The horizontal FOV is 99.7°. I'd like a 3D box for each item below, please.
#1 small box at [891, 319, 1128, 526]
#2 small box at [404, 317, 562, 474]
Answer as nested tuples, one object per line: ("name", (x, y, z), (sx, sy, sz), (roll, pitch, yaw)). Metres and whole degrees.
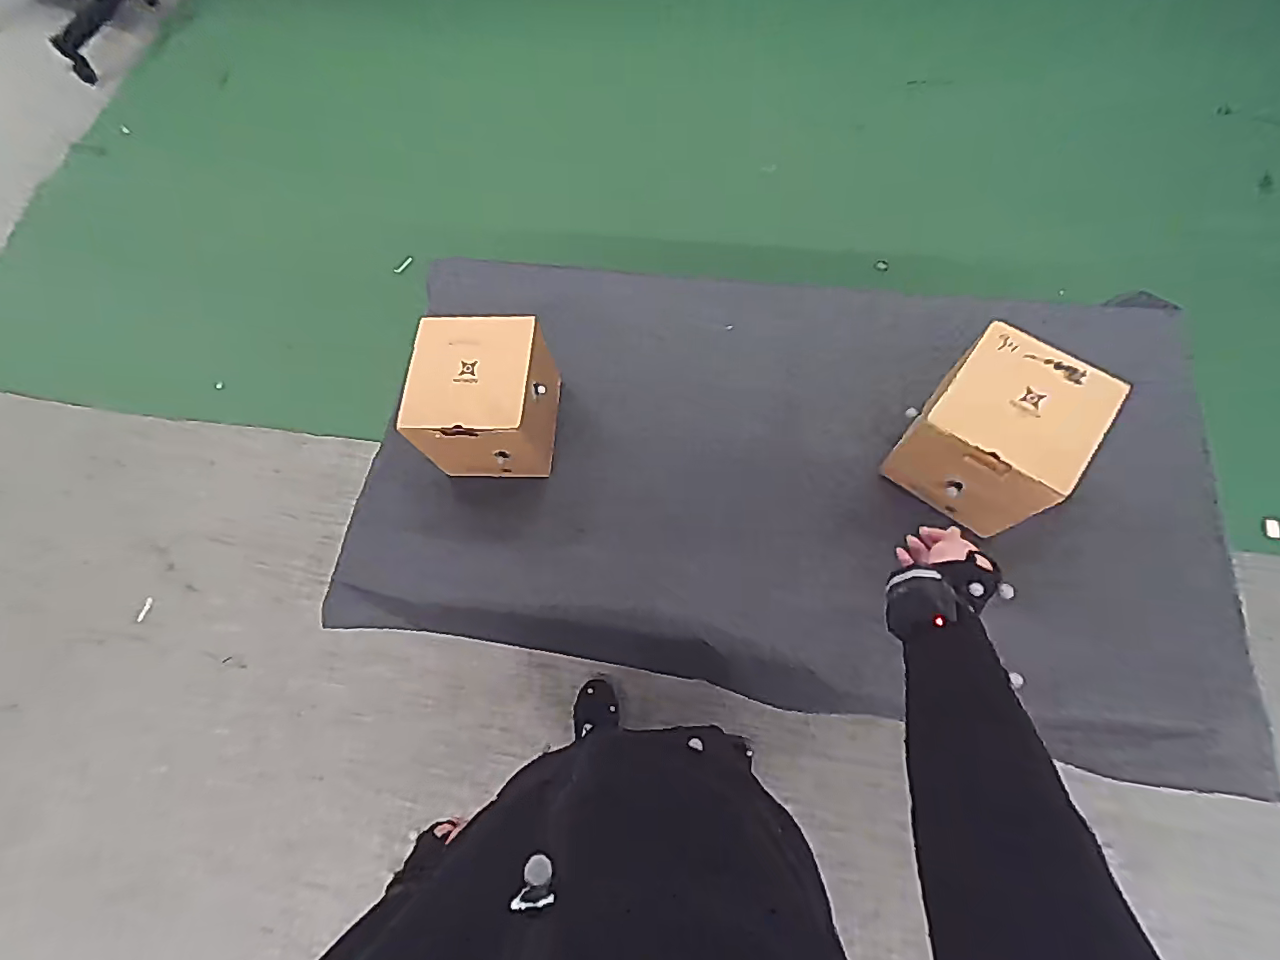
("small box", (0.457, -0.064, 0.704), (0.168, 0.176, 0.179), (37, 77, 16))
("small box", (-0.216, -0.116, 0.796), (0.168, 0.176, 0.179), (1, 69, 4))
